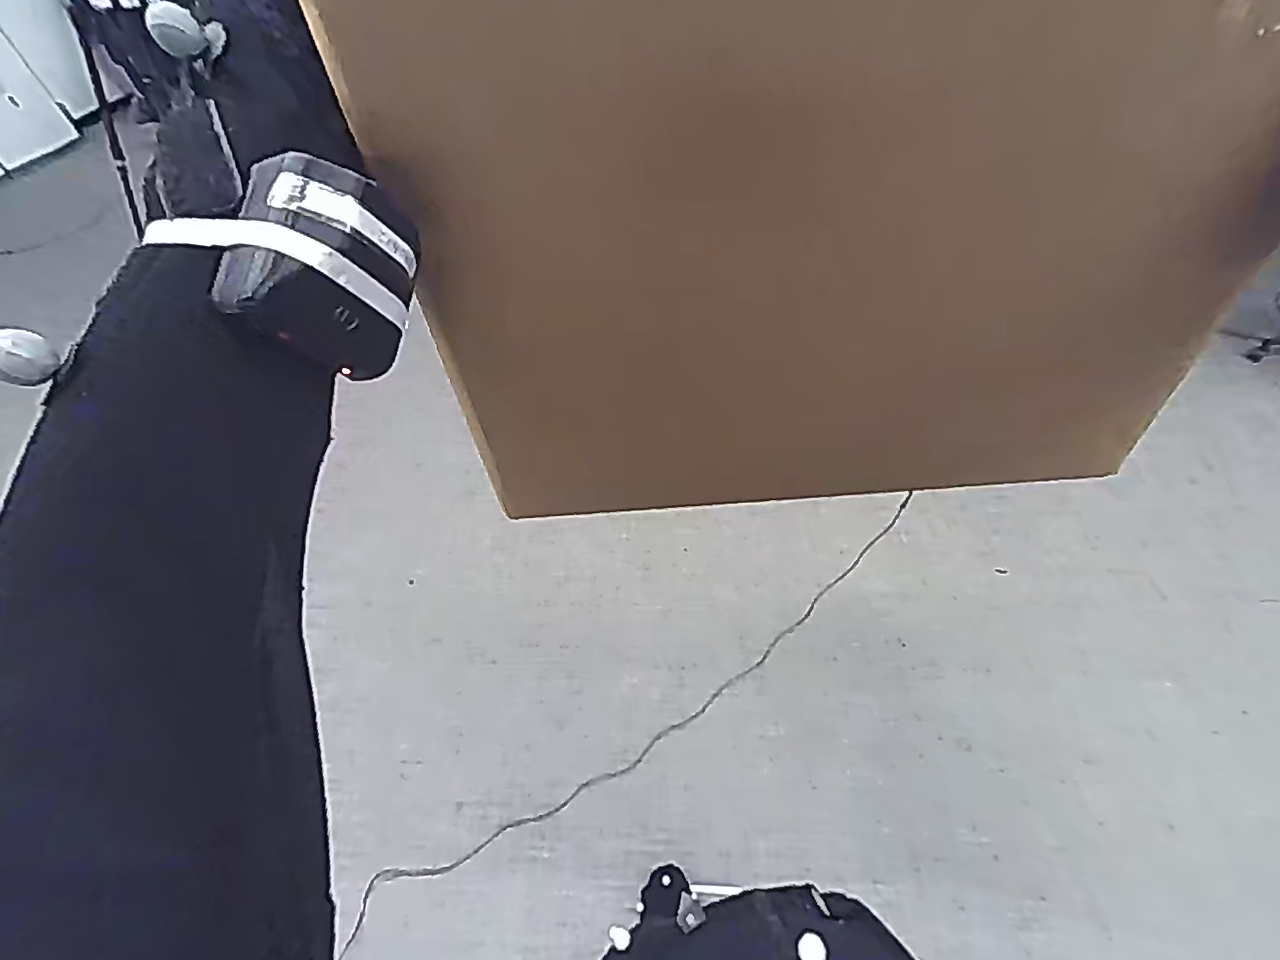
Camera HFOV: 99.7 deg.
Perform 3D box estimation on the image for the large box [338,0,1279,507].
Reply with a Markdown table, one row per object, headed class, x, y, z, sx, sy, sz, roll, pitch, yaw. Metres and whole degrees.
| class | x | y | z | sx | sy | sz | roll | pitch | yaw |
| --- | --- | --- | --- | --- | --- | --- | --- | --- | --- |
| large box | 0.087 | -0.205 | 0.379 | 0.408 | 0.320 | 0.320 | -4 | 44 | 2 |
